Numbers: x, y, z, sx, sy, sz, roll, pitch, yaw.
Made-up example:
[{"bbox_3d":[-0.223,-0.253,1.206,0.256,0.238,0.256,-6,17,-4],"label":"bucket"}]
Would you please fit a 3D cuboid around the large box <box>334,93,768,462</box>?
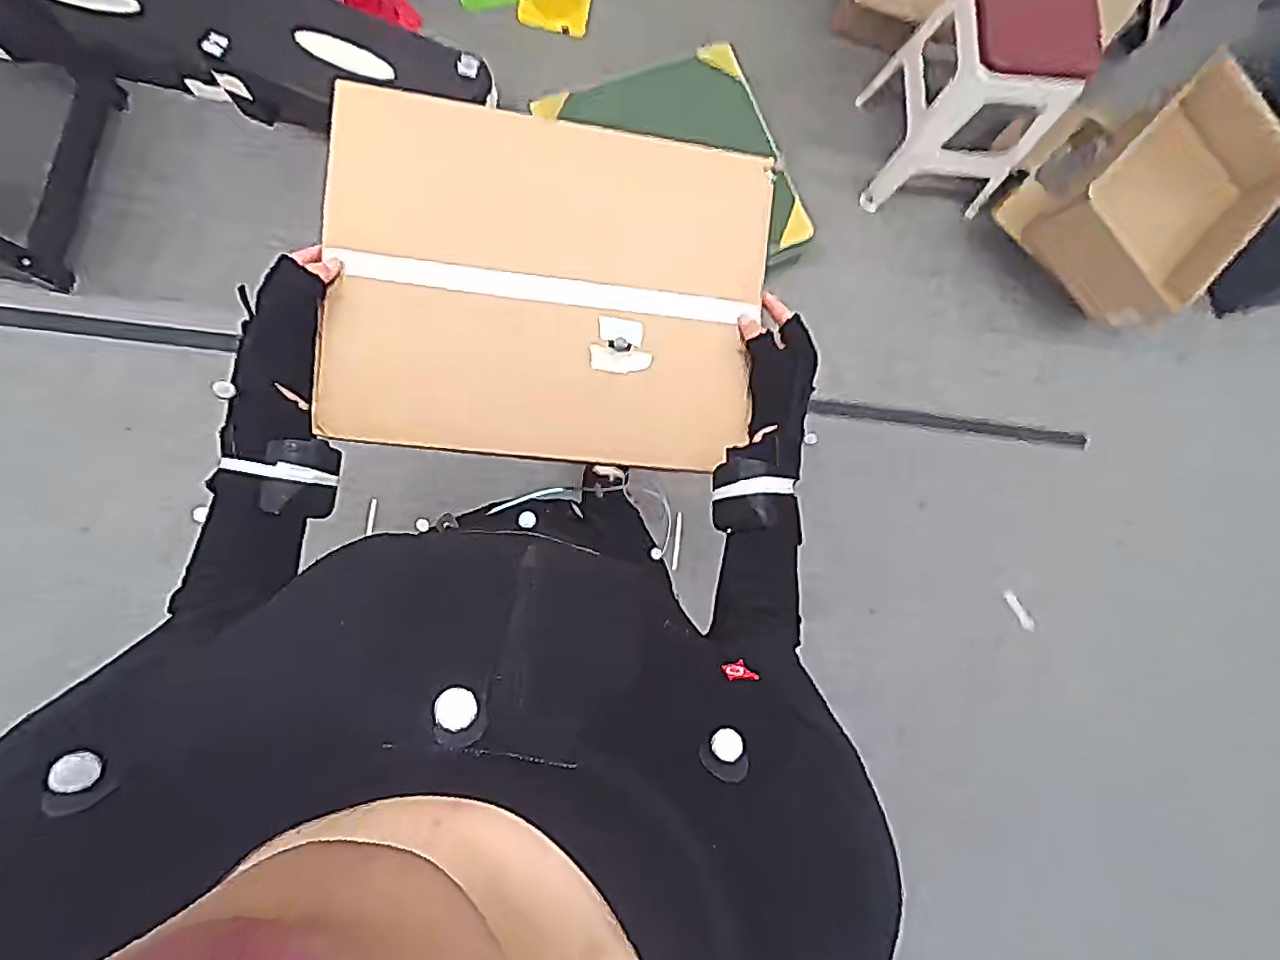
[{"bbox_3d":[-0.100,-0.190,0.667,0.408,0.320,0.320,5,92,-10],"label":"large box"}]
